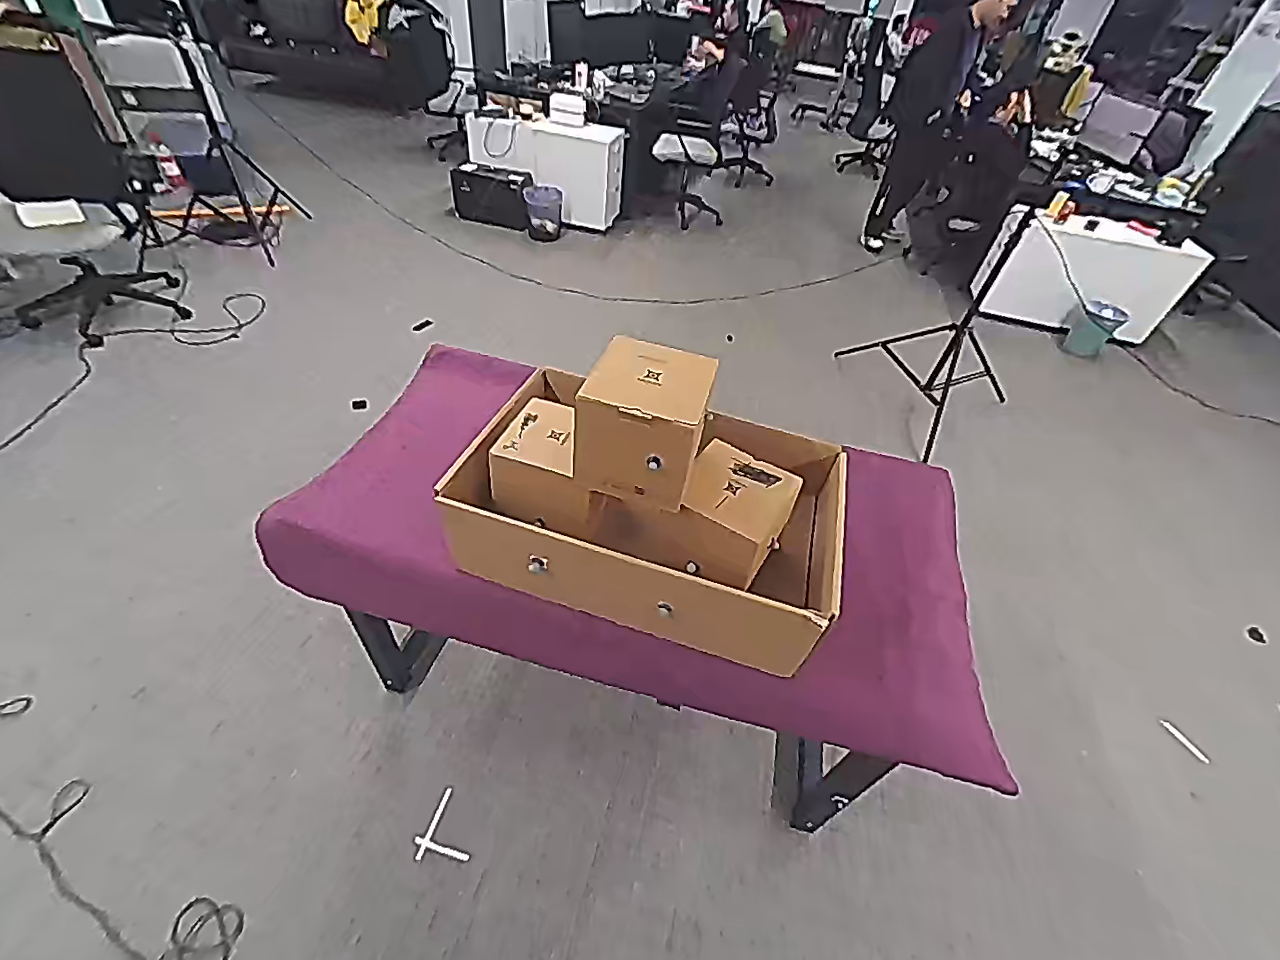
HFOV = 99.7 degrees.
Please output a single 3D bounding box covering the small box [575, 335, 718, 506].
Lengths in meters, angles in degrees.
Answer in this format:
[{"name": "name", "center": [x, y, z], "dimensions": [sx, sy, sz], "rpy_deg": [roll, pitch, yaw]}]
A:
[{"name": "small box", "center": [0.008, -0.087, 0.806], "dimensions": [0.168, 0.176, 0.179], "rpy_deg": [16, 43, 6]}]
